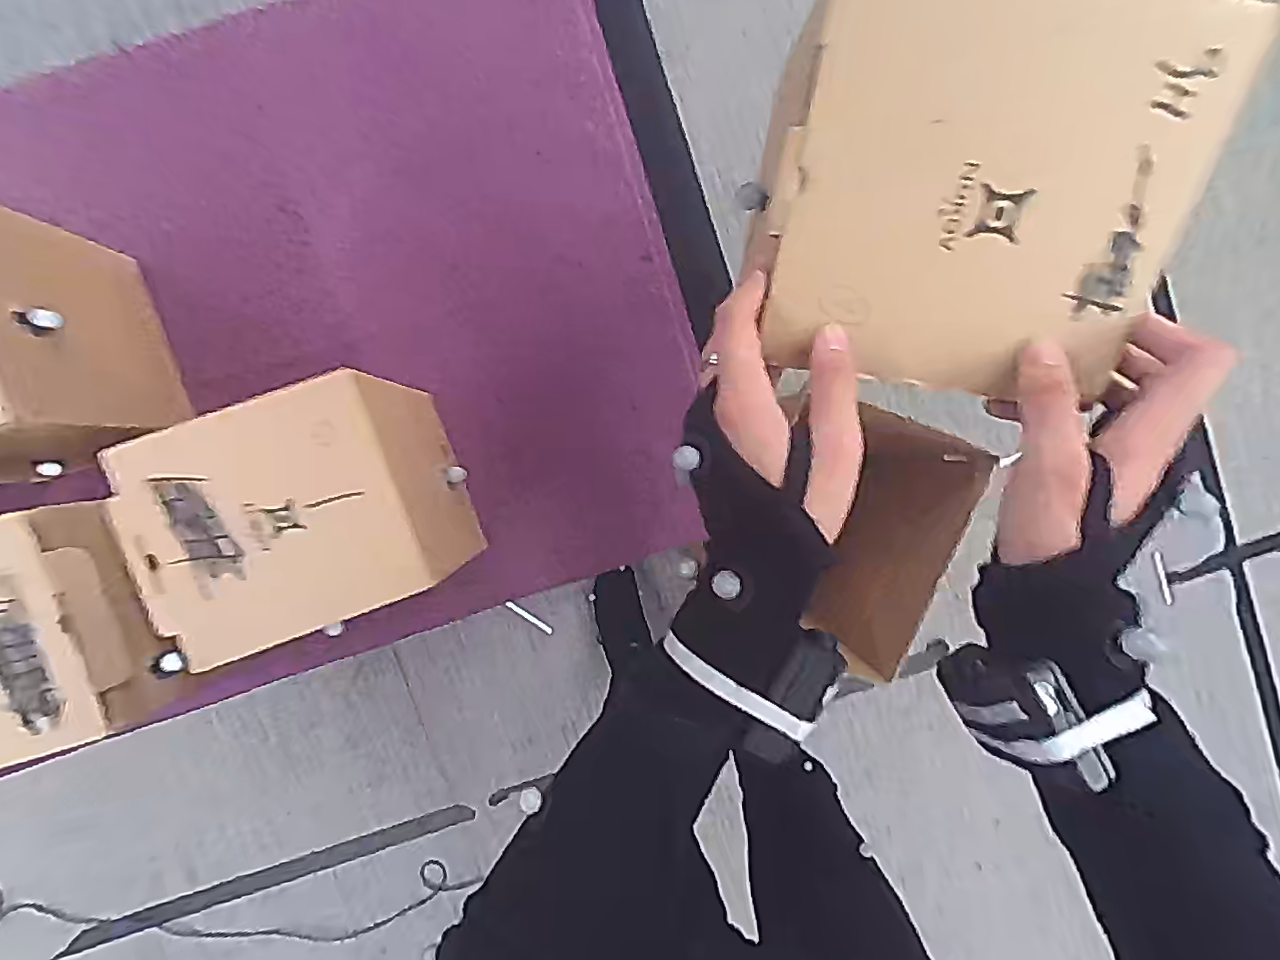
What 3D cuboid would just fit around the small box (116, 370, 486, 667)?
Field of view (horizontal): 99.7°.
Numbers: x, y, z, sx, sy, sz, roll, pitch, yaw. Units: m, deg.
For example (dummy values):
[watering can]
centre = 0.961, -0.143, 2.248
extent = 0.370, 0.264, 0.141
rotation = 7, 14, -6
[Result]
[small box]
centre = -0.253, 0.025, 0.453
extent = 0.179, 0.176, 0.168
rotation = -20, 93, -2
